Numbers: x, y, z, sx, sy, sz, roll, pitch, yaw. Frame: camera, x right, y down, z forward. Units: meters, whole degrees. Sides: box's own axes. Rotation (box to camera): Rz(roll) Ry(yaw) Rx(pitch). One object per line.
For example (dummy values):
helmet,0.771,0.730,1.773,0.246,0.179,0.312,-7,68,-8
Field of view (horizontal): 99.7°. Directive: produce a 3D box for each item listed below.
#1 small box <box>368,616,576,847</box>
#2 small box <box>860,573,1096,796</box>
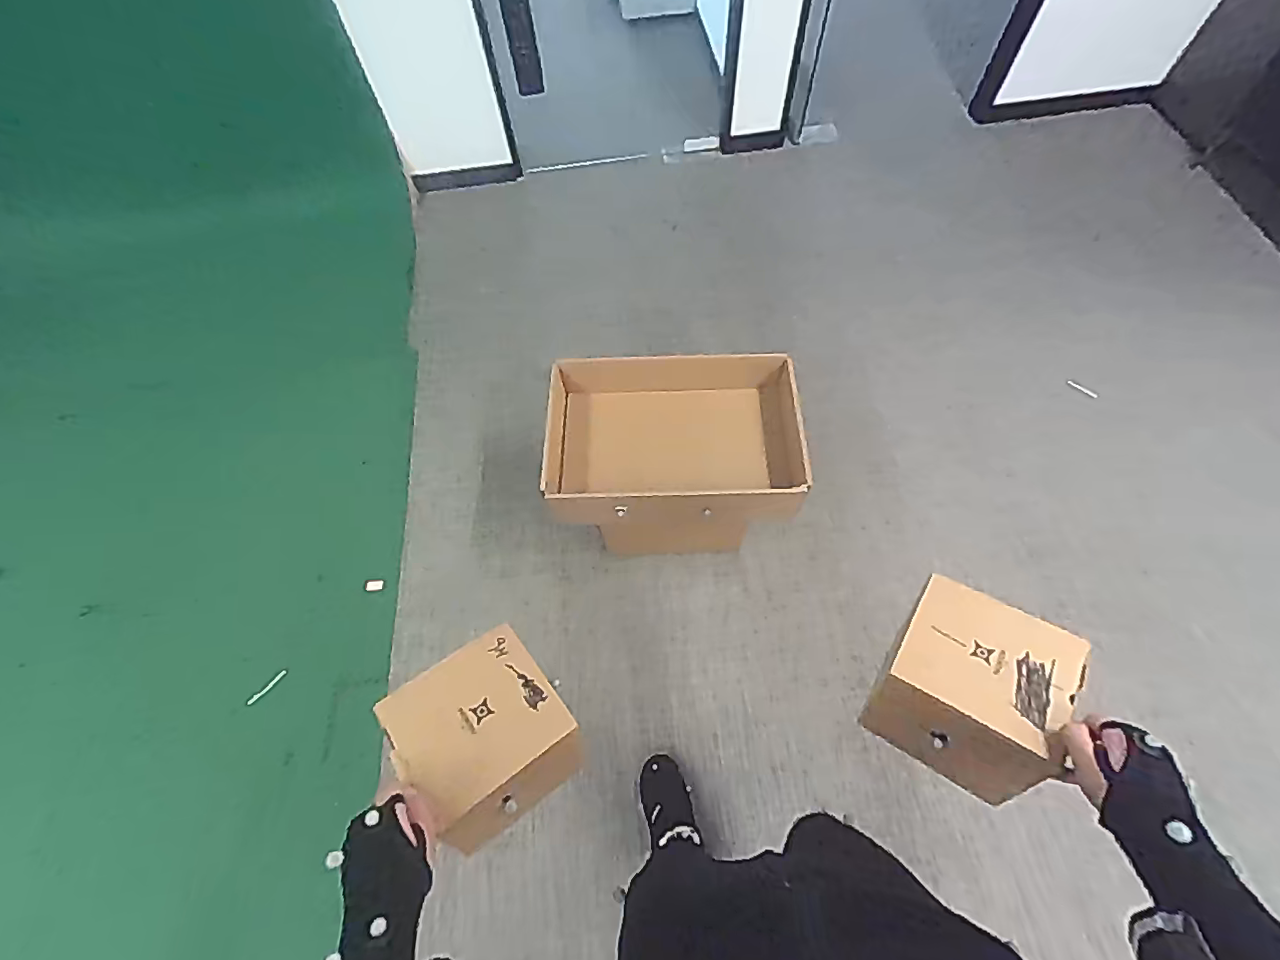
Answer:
small box,-0.194,0.310,0.664,0.179,0.176,0.168,-29,56,-25
small box,0.399,0.253,0.662,0.179,0.176,0.168,27,55,27
